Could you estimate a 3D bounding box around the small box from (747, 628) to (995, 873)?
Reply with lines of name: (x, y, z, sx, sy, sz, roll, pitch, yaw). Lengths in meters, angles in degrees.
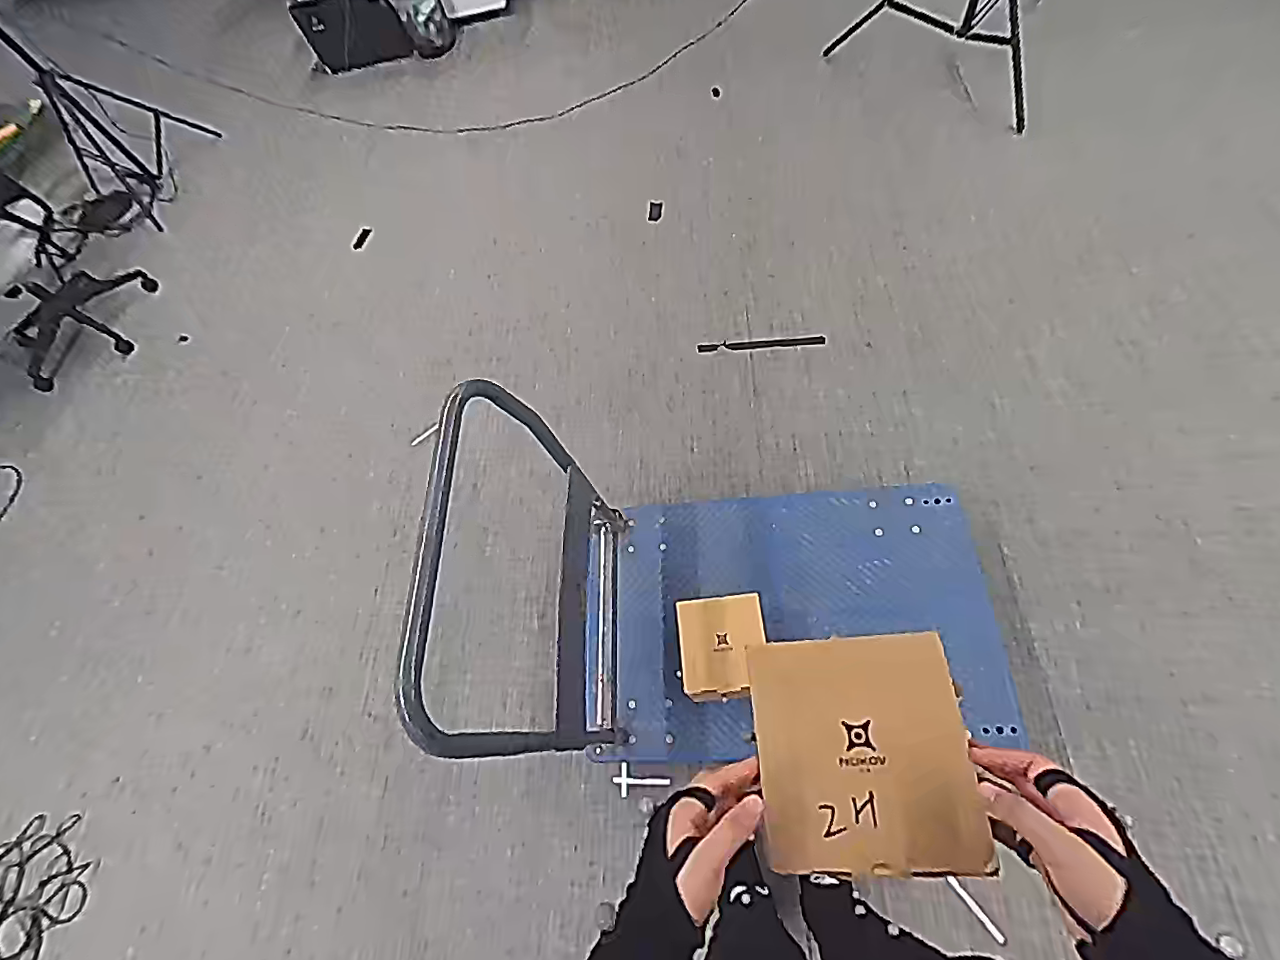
small box: (0.193, 0.246, 0.511, 0.168, 0.176, 0.179, -7, 65, 11)

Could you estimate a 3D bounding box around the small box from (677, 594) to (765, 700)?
small box: (0.171, 0.347, 1.107, 0.168, 0.176, 0.179, -8, 64, 7)
